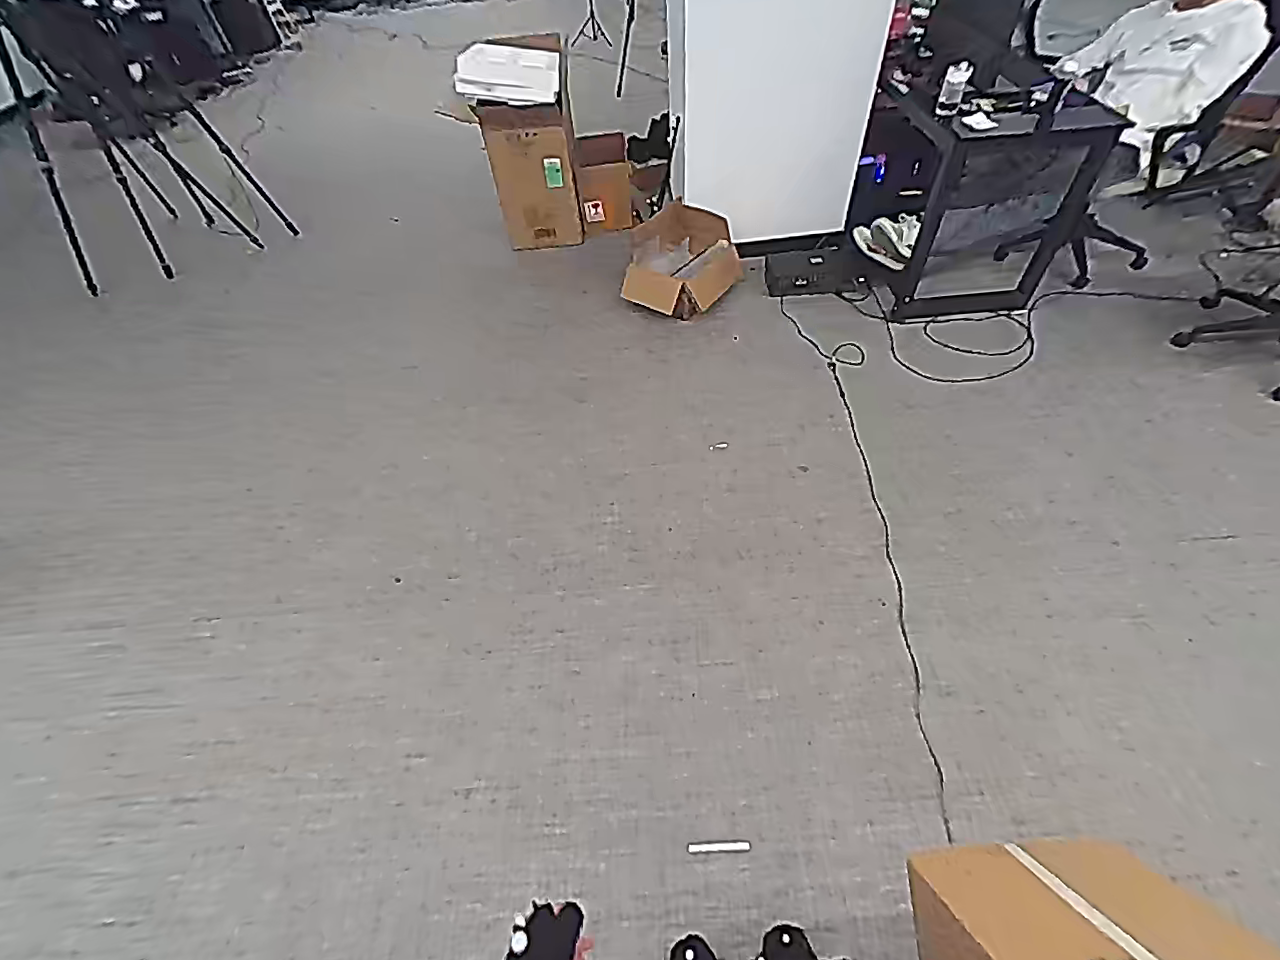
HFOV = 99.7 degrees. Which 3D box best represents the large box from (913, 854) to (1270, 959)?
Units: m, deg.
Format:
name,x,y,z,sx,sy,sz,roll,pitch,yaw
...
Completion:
name,x,y,z,sx,sy,sz,roll,pitch,yaw
large box,0.569,0.700,0.606,0.320,0.408,0.320,-4,83,0
